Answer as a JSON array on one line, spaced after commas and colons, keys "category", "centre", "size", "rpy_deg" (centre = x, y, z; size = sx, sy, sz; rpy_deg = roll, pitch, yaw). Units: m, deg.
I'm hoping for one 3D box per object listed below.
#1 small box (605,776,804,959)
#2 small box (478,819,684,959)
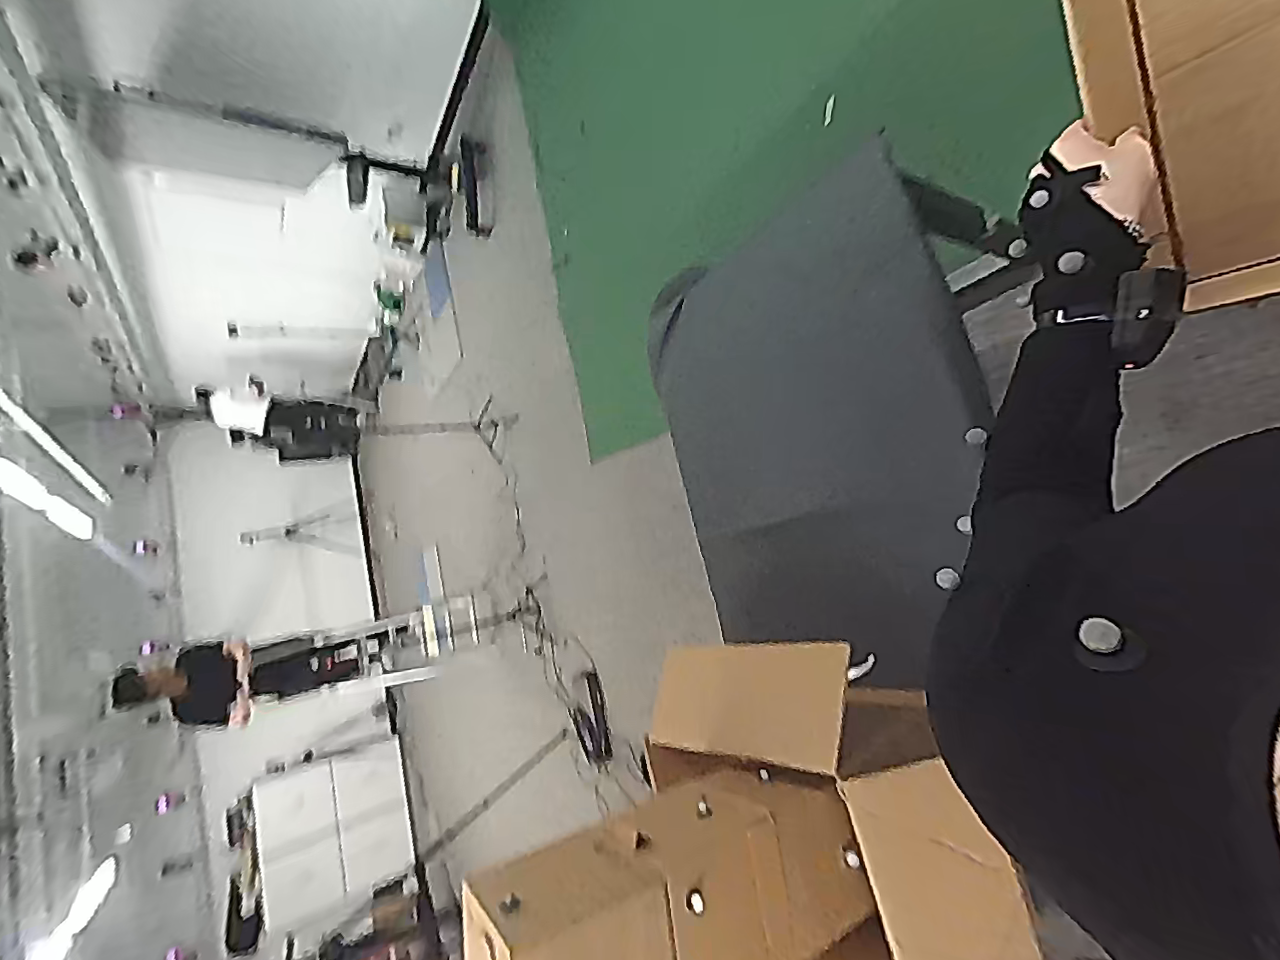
[{"category": "small box", "centre": [0.078, 0.500, 0.667], "size": [0.168, 0.176, 0.179], "rpy_deg": [-24, 72, 54]}, {"category": "small box", "centre": [-0.060, 0.507, 0.578], "size": [0.168, 0.176, 0.179], "rpy_deg": [-21, 75, 55]}]
